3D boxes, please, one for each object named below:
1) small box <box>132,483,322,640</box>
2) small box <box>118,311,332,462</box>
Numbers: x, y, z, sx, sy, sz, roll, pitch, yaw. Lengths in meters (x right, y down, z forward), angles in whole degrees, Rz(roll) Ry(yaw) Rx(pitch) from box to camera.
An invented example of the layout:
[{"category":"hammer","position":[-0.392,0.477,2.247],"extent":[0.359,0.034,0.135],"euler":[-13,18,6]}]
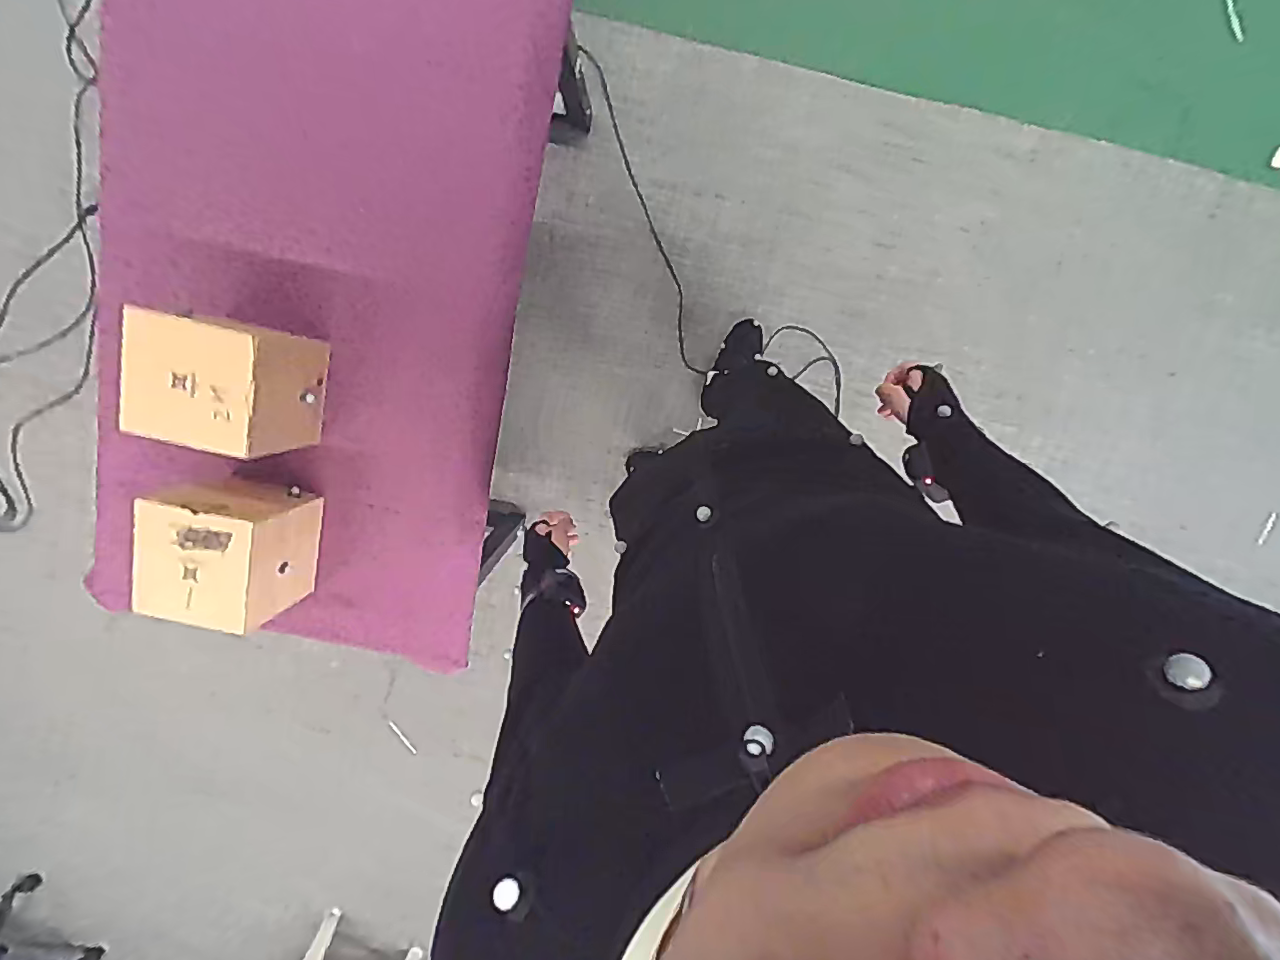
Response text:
[{"category":"small box","position":[-0.622,0.114,0.833],"extent":[0.168,0.176,0.179],"euler":[12,102,-1]},{"category":"small box","position":[-0.589,-0.134,0.784],"extent":[0.179,0.176,0.168],"euler":[13,101,-2]}]
